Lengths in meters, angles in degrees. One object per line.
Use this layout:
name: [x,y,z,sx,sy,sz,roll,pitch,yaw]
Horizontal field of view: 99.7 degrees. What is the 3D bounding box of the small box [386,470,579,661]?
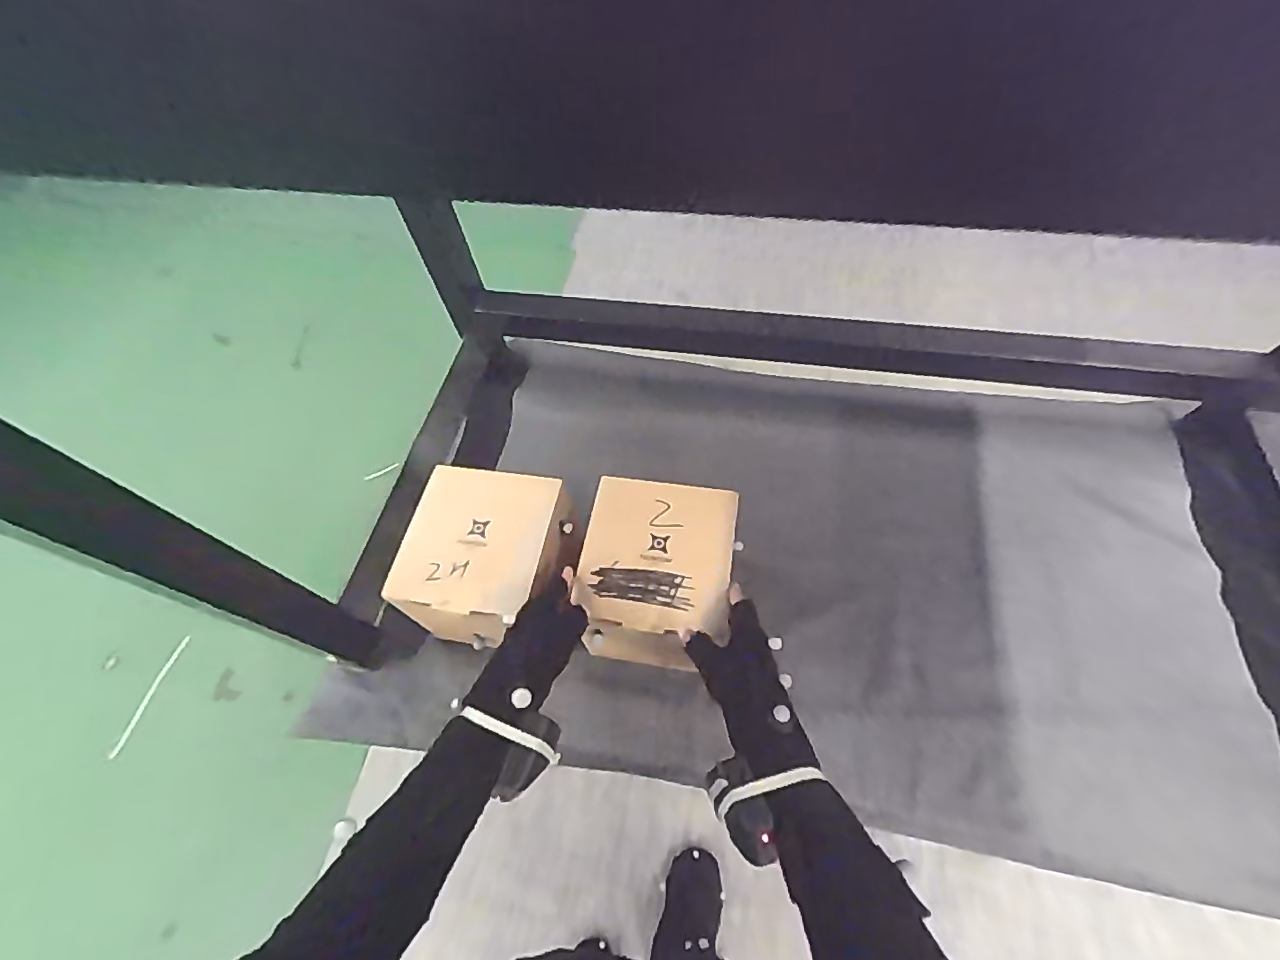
small box: [-0.180,0.112,0.687,0.168,0.176,0.179,6,59,8]
